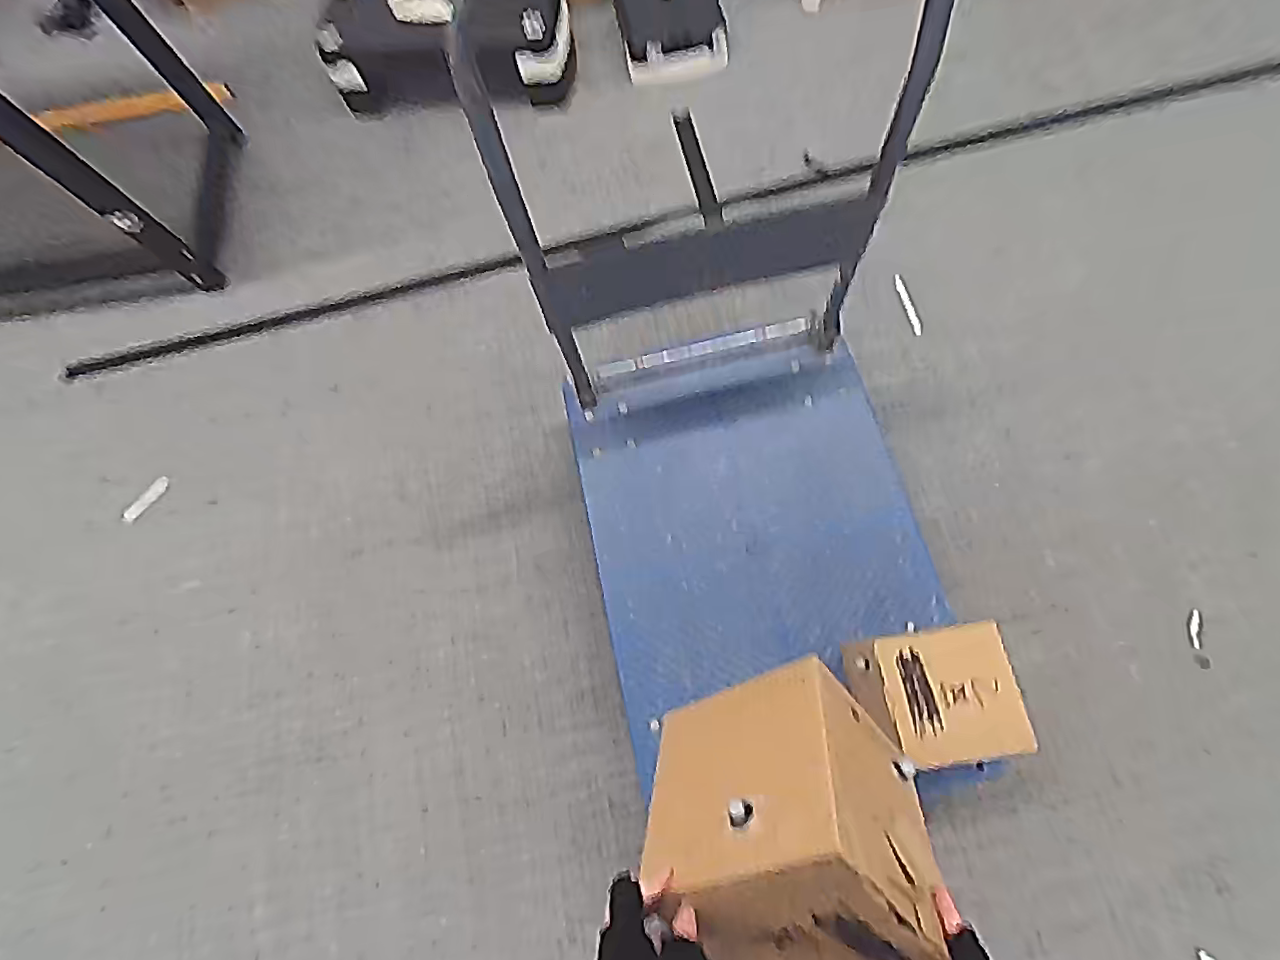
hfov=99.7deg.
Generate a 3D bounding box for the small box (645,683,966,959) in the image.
[{"bbox_3d":[0.130,0.304,0.454,0.179,0.176,0.168,-34,108,27],"label":"small box"}]
